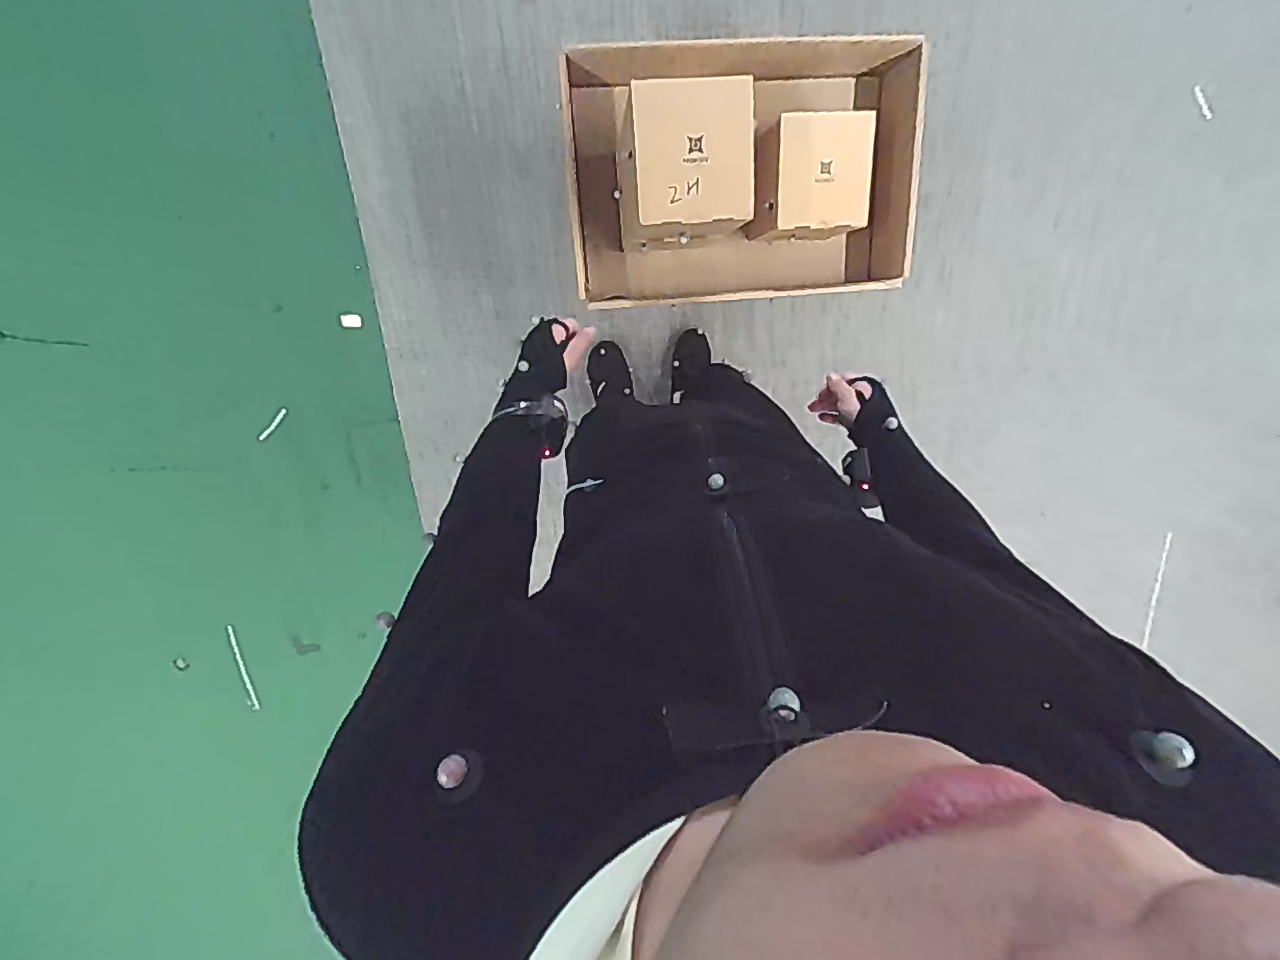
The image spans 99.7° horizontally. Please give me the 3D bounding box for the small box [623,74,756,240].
[{"bbox_3d":[0.067,-0.466,0.804,0.168,0.176,0.179,-5,108,-5],"label":"small box"}]
